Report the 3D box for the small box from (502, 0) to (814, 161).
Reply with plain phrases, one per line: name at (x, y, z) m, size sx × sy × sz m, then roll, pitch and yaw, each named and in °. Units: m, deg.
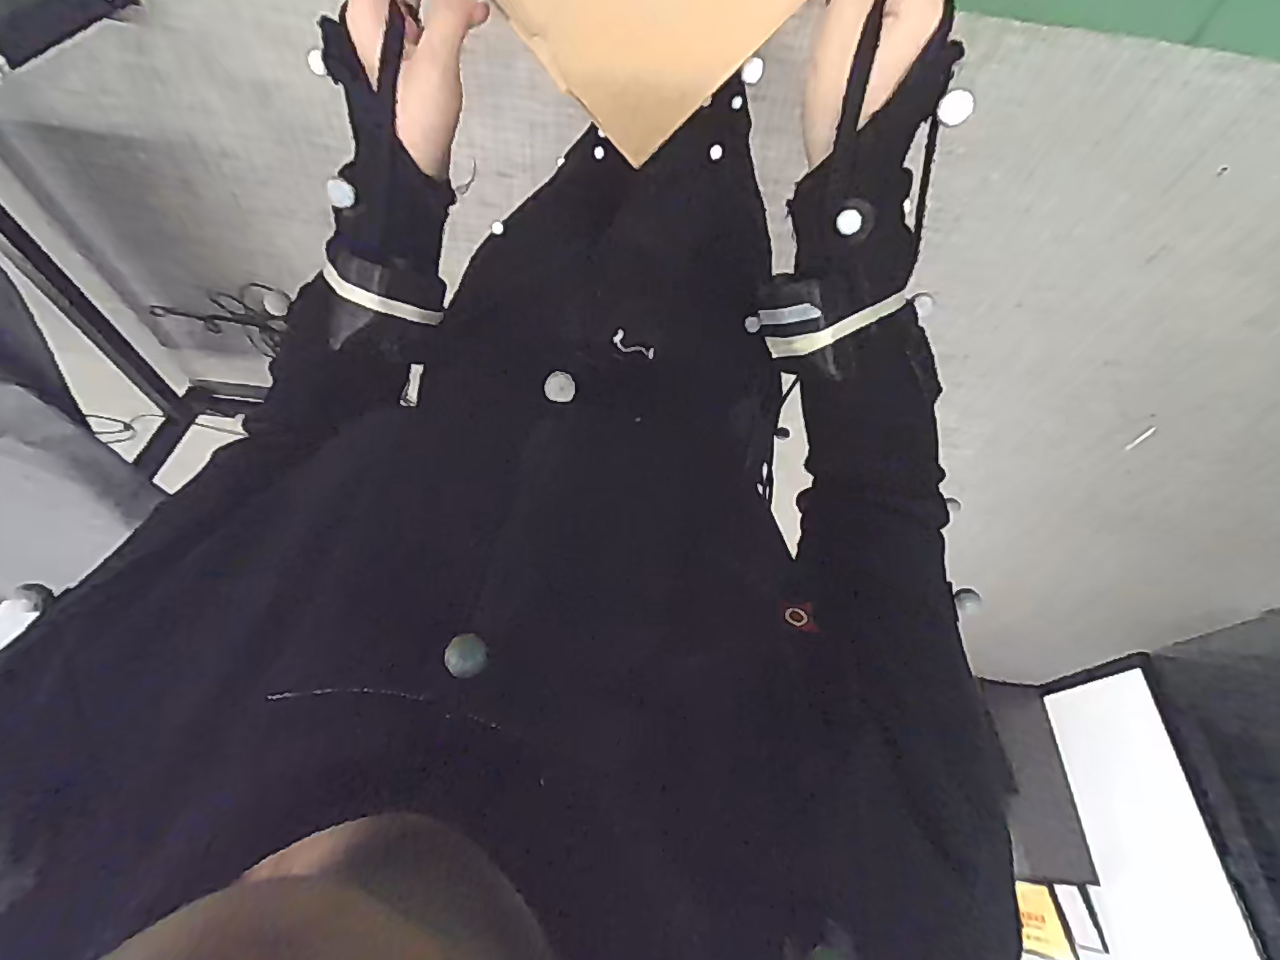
small box at (0.025, -0.333, 0.292) m, size 0.168 × 0.176 × 0.179 m, roll 38°, pitch 145°, yaw -28°
